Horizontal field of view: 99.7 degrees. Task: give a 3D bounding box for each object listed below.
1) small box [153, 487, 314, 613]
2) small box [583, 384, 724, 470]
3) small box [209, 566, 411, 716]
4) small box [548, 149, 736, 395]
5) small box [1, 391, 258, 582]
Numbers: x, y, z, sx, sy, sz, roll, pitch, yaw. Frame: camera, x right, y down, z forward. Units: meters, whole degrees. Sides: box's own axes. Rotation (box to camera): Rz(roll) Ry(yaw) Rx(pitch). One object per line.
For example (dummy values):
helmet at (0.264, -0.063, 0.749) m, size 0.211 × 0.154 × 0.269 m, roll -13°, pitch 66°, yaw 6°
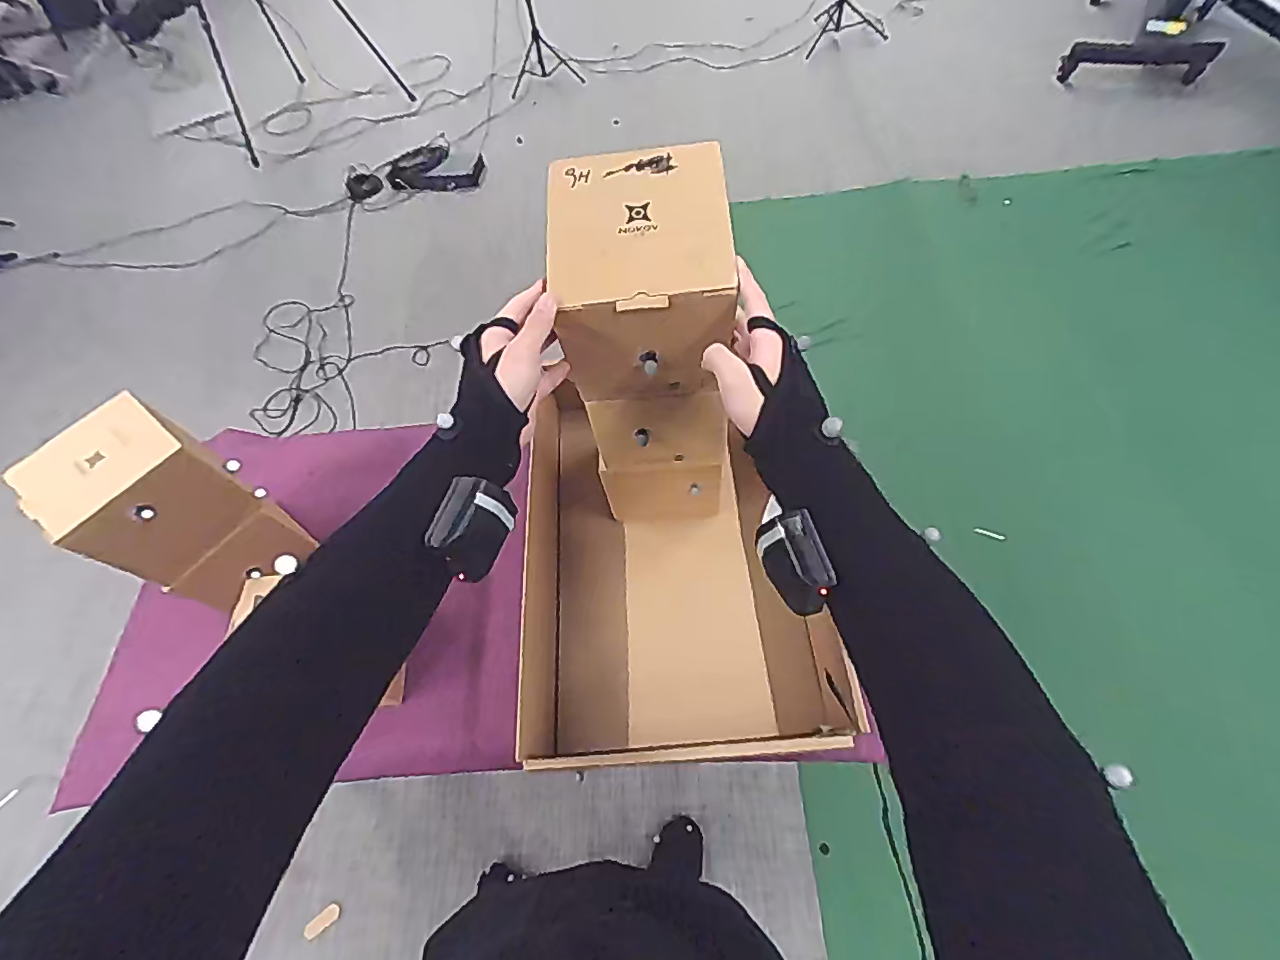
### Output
small box at (-0.699, 0.101, 0.907) m, size 0.179 × 0.176 × 0.168 m, roll 33°, pitch 67°, yaw 21°
small box at (0.022, -0.124, 0.719) m, size 0.168 × 0.176 × 0.179 m, roll -4°, pitch 60°, yaw 4°
small box at (-0.470, 0.244, 0.802) m, size 0.179 × 0.176 × 0.168 m, roll -7°, pitch 58°, yaw 1°
small box at (0.005, -0.198, 0.561) m, size 0.168 × 0.176 × 0.179 m, roll -4°, pitch 71°, yaw 3°
small box at (-0.706, 0.016, 0.769) m, size 0.168 × 0.176 × 0.179 m, roll 34°, pitch 68°, yaw 20°
